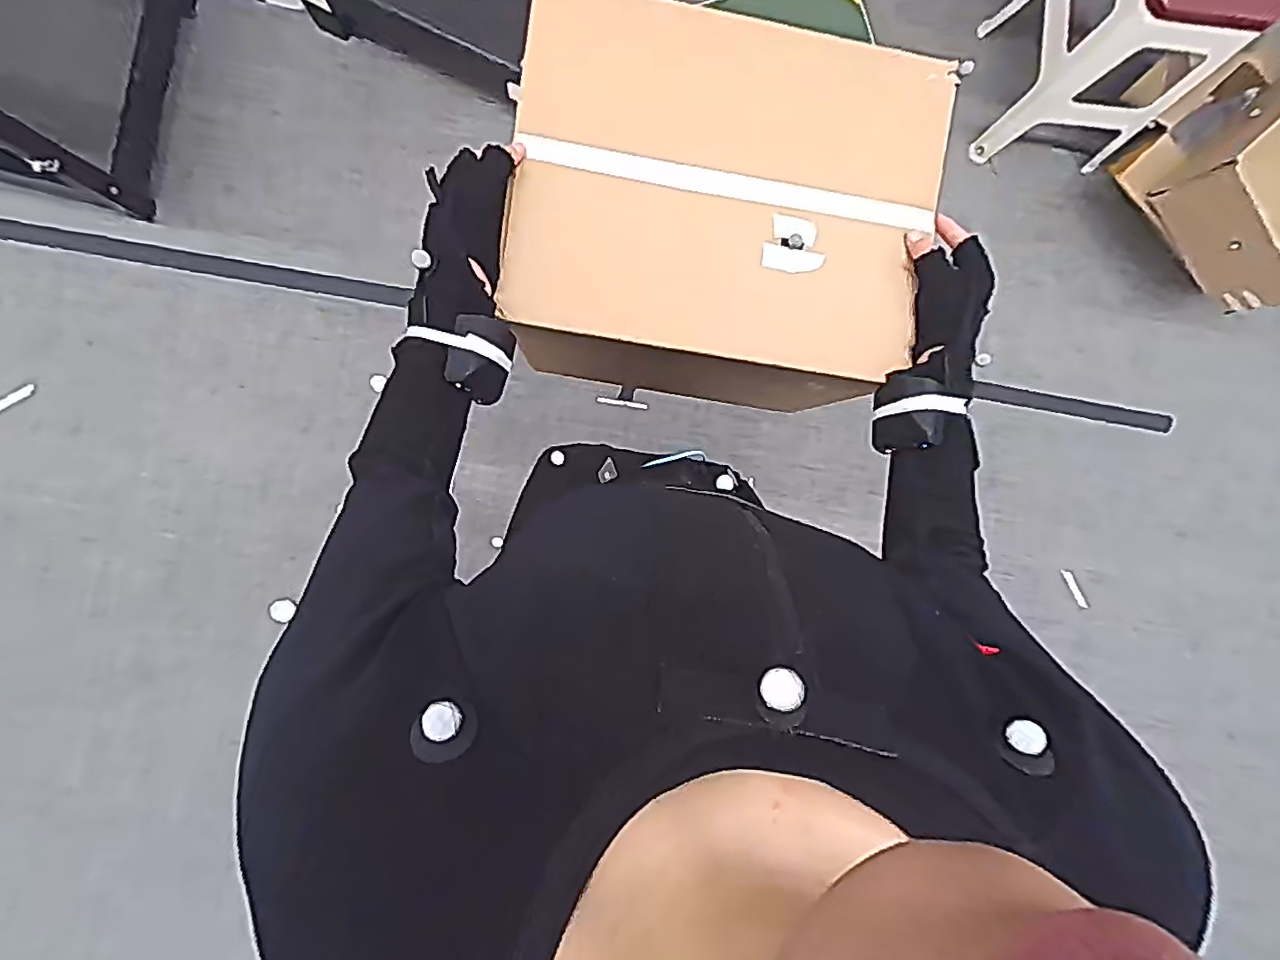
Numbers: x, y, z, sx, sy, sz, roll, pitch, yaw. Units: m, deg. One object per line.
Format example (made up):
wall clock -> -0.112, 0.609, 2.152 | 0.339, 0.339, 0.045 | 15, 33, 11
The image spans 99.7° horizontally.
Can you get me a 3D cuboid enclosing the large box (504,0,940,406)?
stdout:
large box -> 0.070, -0.285, 0.673 | 0.408, 0.320, 0.320 | 9, 93, -5
